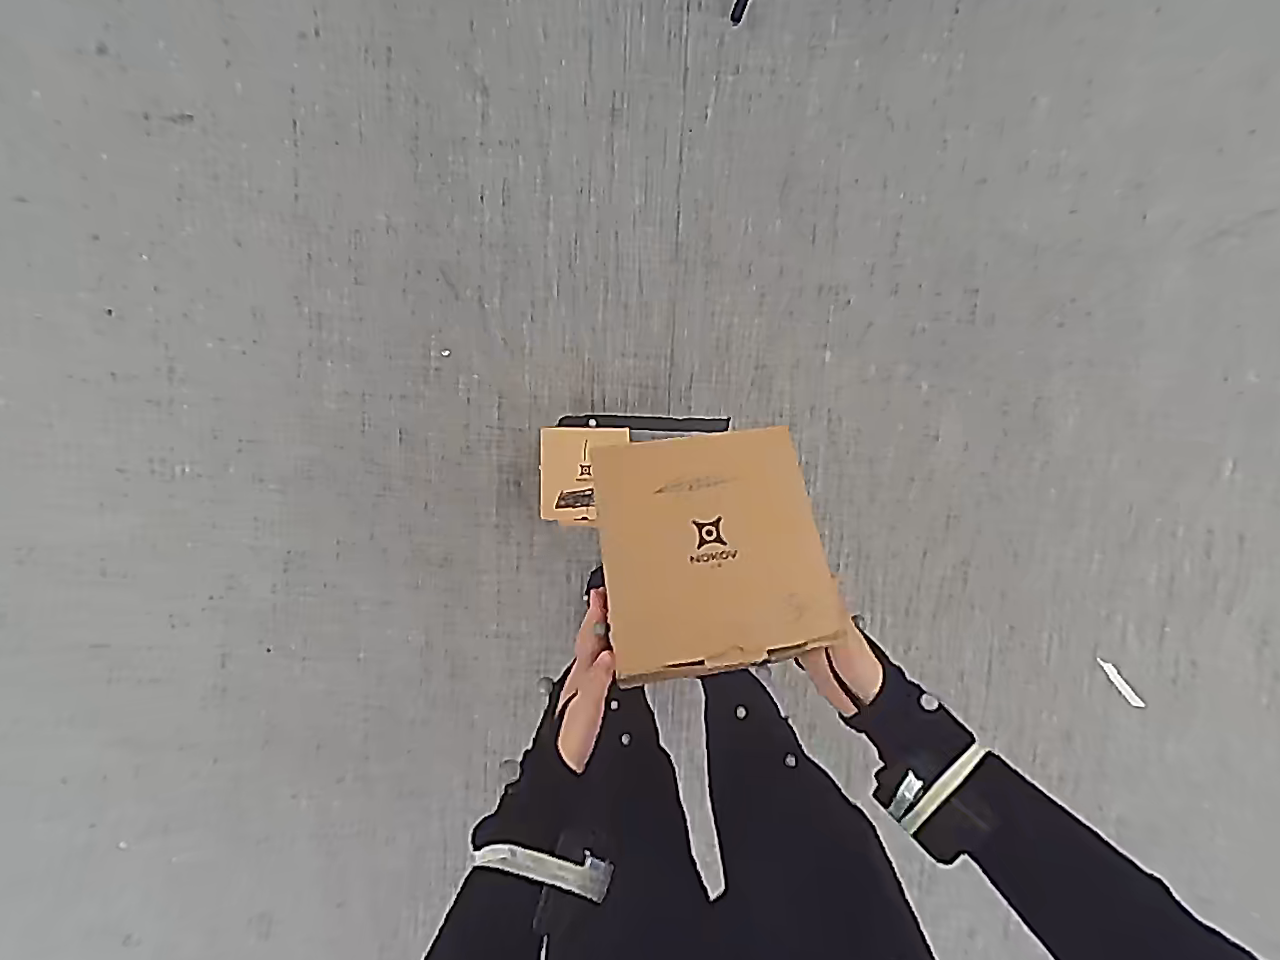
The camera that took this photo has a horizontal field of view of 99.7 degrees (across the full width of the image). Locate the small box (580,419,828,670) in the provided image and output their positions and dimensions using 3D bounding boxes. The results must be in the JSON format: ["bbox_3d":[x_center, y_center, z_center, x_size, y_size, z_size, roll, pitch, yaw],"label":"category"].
[{"bbox_3d":[0.041,0.069,0.484,0.168,0.176,0.179,-7,67,-5],"label":"small box"}]

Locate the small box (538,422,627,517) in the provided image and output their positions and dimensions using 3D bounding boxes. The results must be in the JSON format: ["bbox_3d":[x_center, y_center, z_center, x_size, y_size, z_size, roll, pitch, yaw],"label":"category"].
[{"bbox_3d":[-0.110,-0.027,1.083,0.168,0.176,0.179,0,95,-2],"label":"small box"}]
